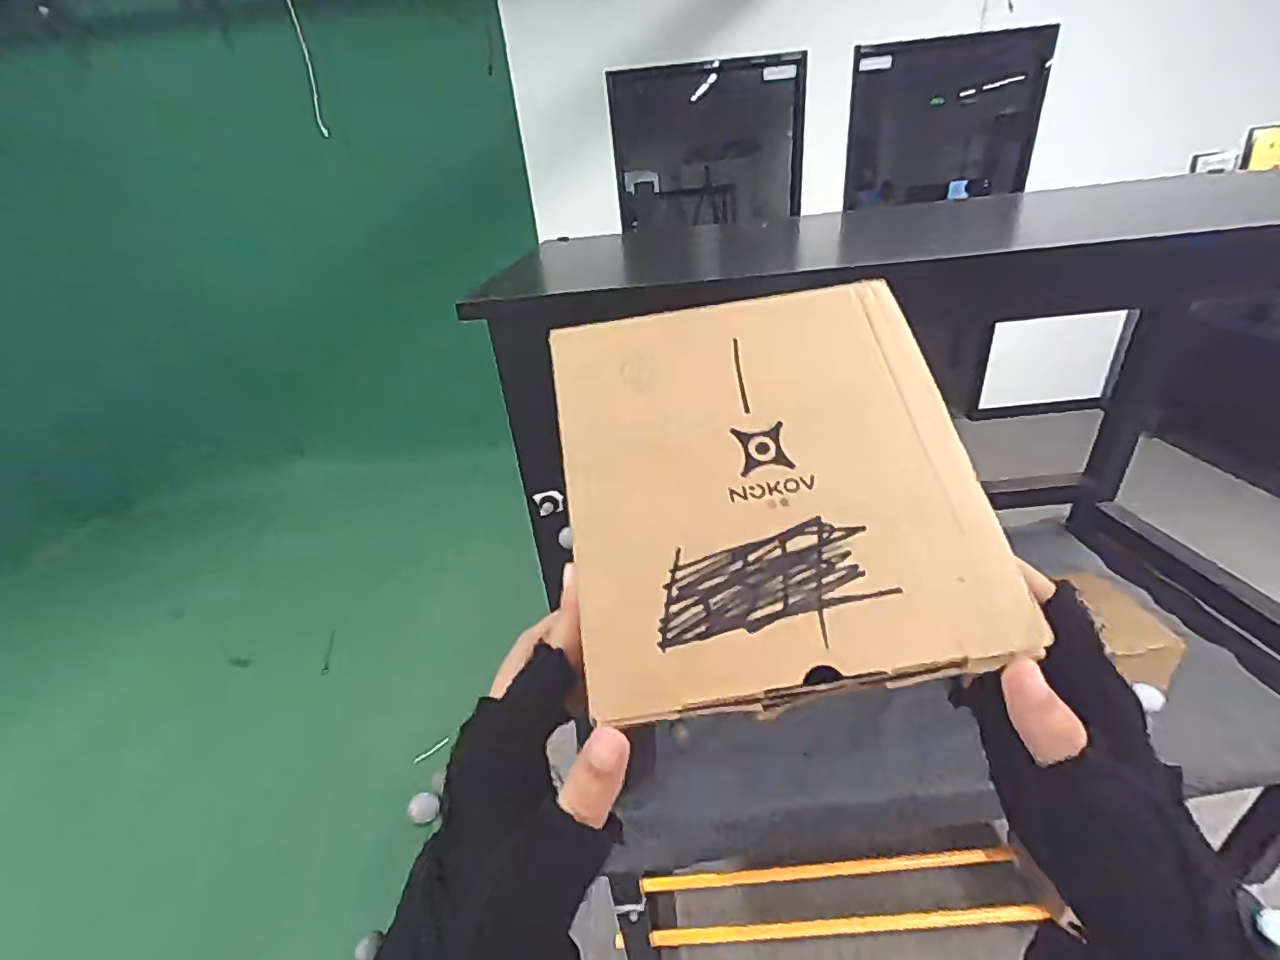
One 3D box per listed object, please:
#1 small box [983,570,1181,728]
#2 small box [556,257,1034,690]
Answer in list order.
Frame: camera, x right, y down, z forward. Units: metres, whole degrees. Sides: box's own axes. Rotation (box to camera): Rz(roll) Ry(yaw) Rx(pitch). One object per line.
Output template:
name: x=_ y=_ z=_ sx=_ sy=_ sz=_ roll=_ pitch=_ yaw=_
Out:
small box: x=0.699 y=0.272 z=0.883 sx=0.168 sy=0.176 sz=0.179 roll=-7 pitch=27 yaw=1
small box: x=0.056 y=0.014 z=0.301 sx=0.168 sy=0.176 sz=0.179 roll=-9 pitch=65 yaw=-2
